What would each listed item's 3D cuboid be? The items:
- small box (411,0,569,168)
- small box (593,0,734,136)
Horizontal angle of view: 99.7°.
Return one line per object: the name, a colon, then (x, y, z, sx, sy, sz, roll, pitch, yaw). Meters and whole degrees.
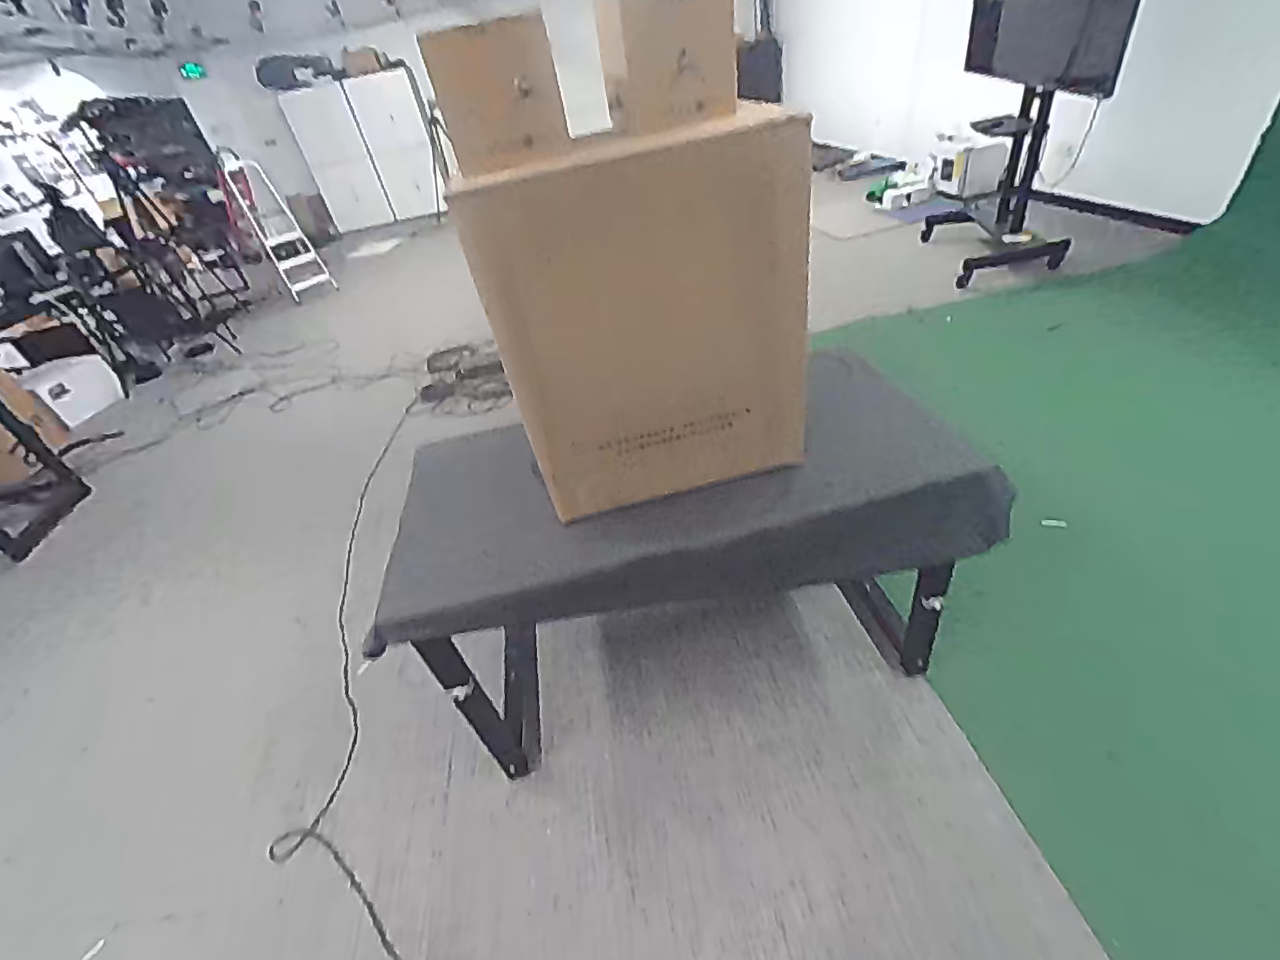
small box: (-0.216, -0.574, 0.790, 0.168, 0.176, 0.179, -21, 42, -9)
small box: (0.038, -0.648, 0.832, 0.168, 0.176, 0.179, -17, 41, -5)
